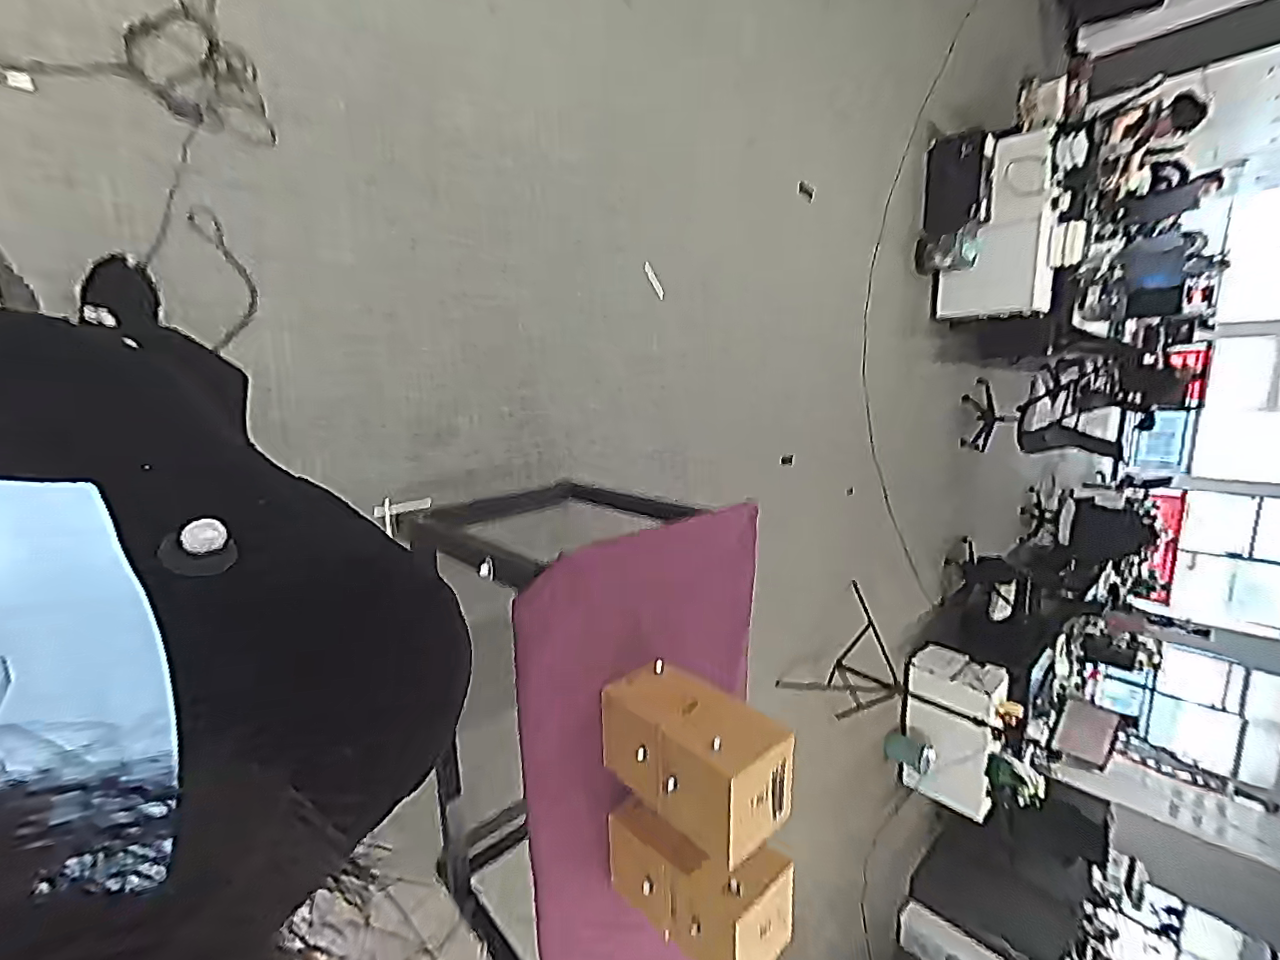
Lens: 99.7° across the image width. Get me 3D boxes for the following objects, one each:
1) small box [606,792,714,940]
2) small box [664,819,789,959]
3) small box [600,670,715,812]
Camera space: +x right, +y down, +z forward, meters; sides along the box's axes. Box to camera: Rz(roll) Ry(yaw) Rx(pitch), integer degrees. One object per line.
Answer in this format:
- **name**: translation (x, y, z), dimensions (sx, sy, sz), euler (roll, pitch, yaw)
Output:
- **small box**: translation (0.042, 0.781, 1.133), dimensions (0.168, 0.176, 0.179), euler (-9, 102, -42)
- **small box**: translation (0.159, 0.792, 1.017), dimensions (0.179, 0.176, 0.168), euler (-9, 103, -42)
- **small box**: translation (0.032, 0.501, 1.077), dimensions (0.168, 0.176, 0.179), euler (-10, 104, -42)
